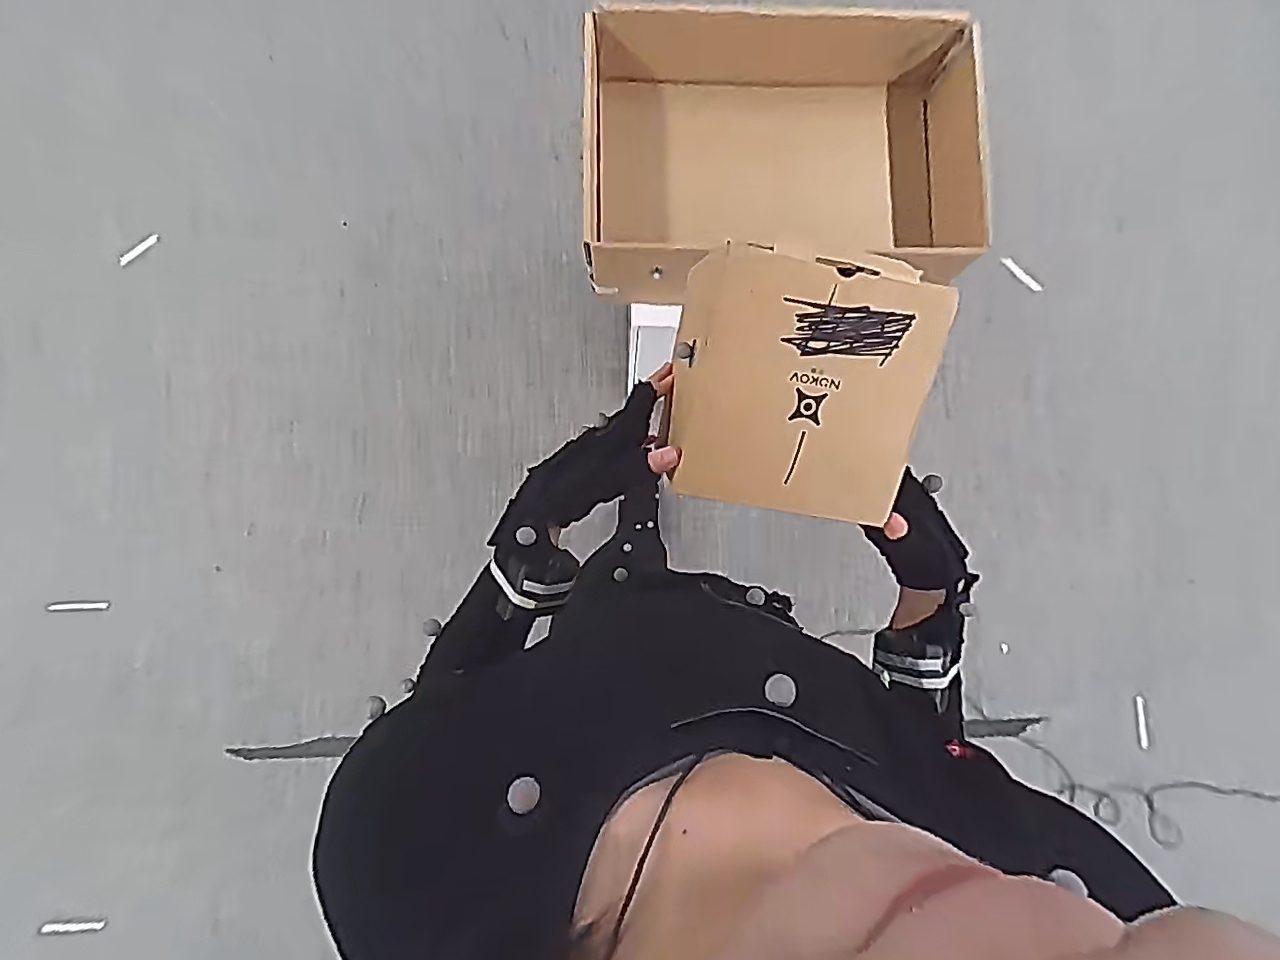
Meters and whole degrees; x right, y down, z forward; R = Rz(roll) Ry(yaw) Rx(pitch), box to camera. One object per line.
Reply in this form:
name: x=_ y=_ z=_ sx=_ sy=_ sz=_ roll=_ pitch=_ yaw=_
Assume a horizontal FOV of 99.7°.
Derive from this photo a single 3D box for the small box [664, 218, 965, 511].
small box: x=0.119 y=-0.092 z=0.451 sx=0.168 sy=0.176 sz=0.179 roll=10 pitch=104 yaw=-6
